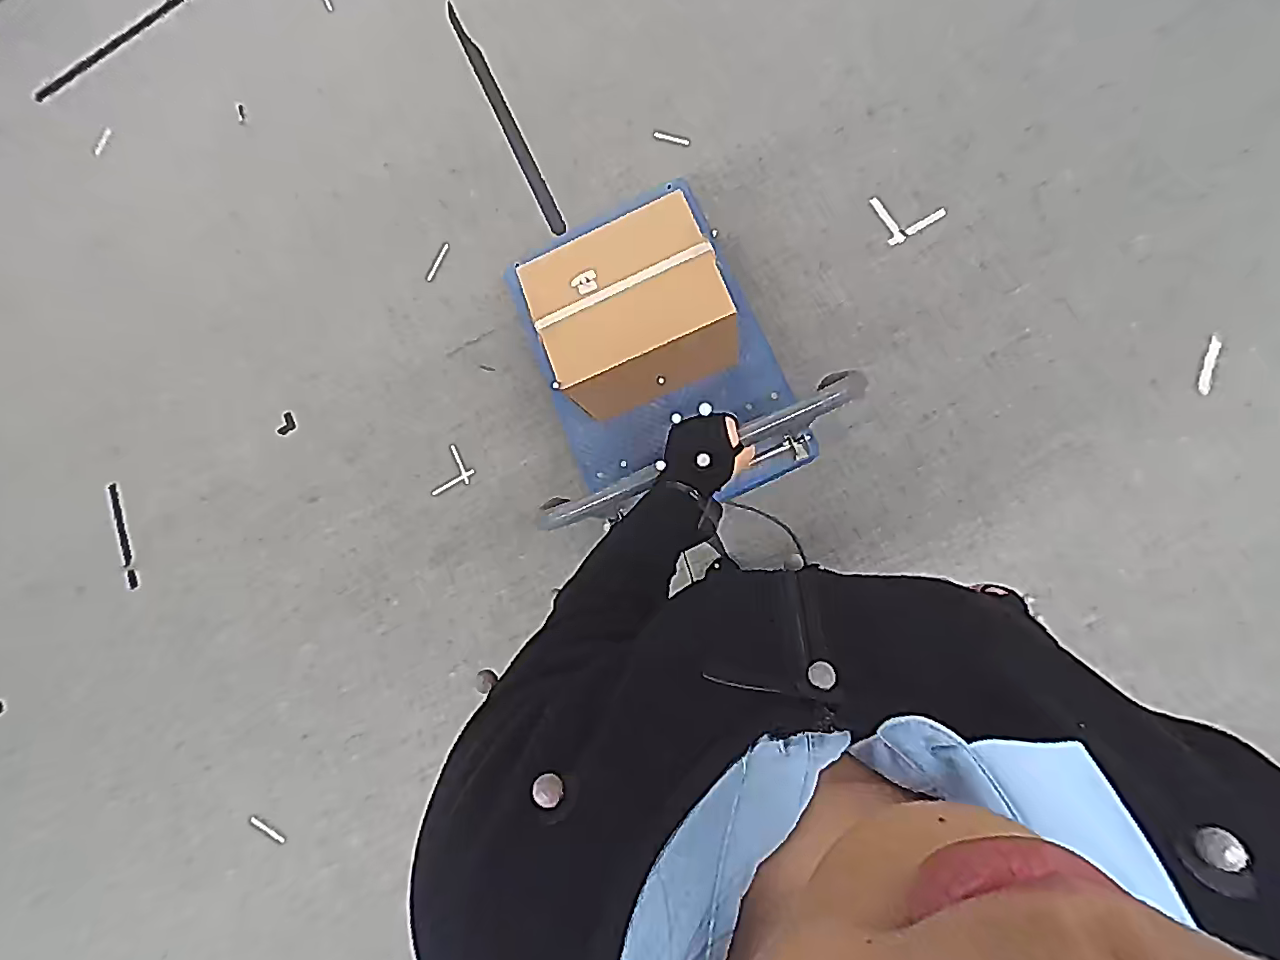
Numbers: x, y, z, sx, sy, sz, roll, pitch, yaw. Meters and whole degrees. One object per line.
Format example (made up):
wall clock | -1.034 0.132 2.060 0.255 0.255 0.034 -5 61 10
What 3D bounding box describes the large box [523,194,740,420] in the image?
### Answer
large box | -0.003 -0.389 1.315 0.408 0.320 0.320 -23 77 8
